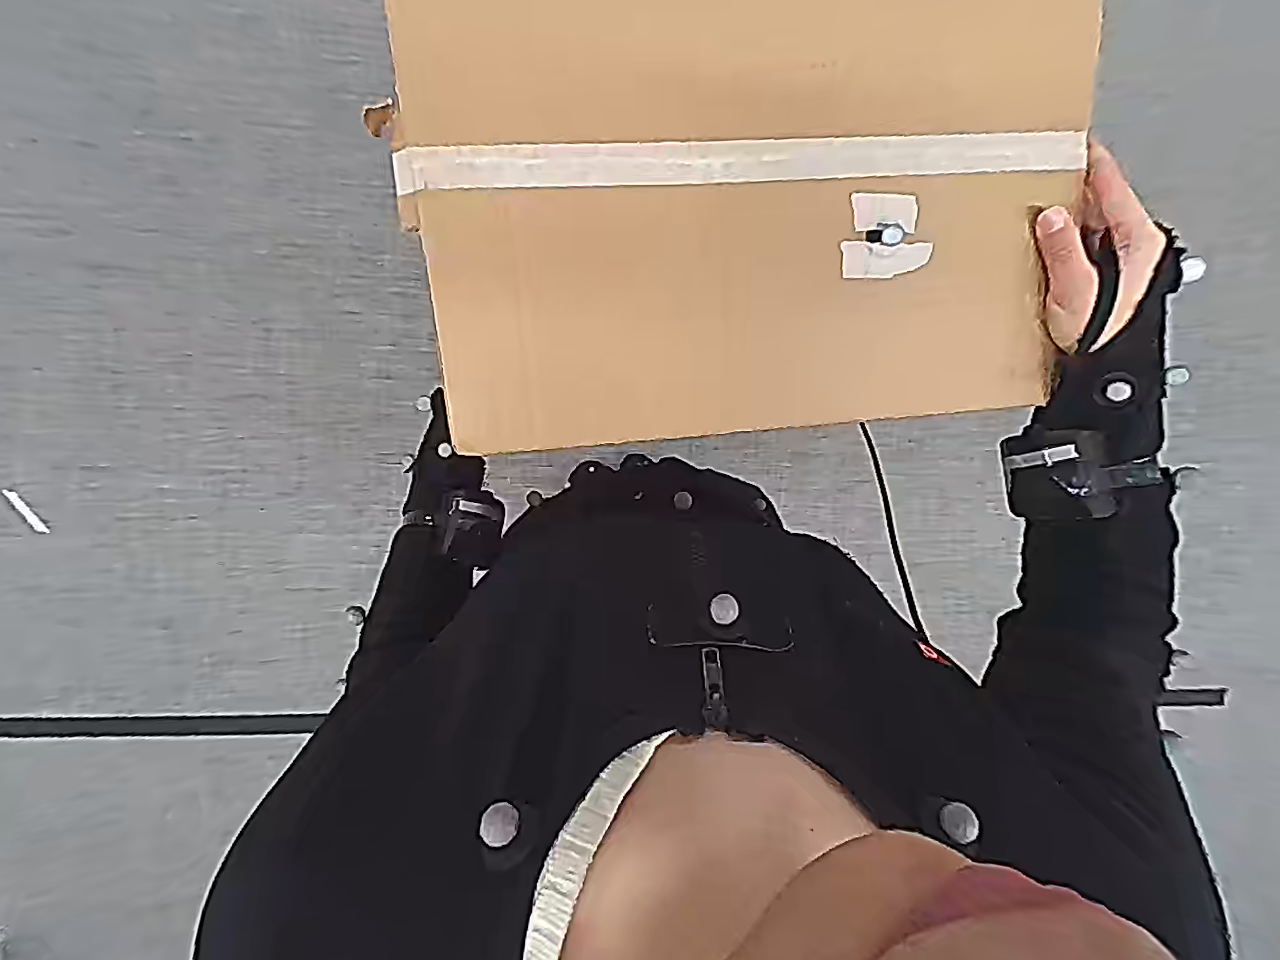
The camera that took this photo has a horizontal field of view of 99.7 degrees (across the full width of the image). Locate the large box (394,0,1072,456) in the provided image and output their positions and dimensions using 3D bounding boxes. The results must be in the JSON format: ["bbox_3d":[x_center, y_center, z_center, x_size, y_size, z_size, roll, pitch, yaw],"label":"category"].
[{"bbox_3d":[0.050,-0.218,0.468,0.408,0.320,0.320,-7,104,-9],"label":"large box"}]
